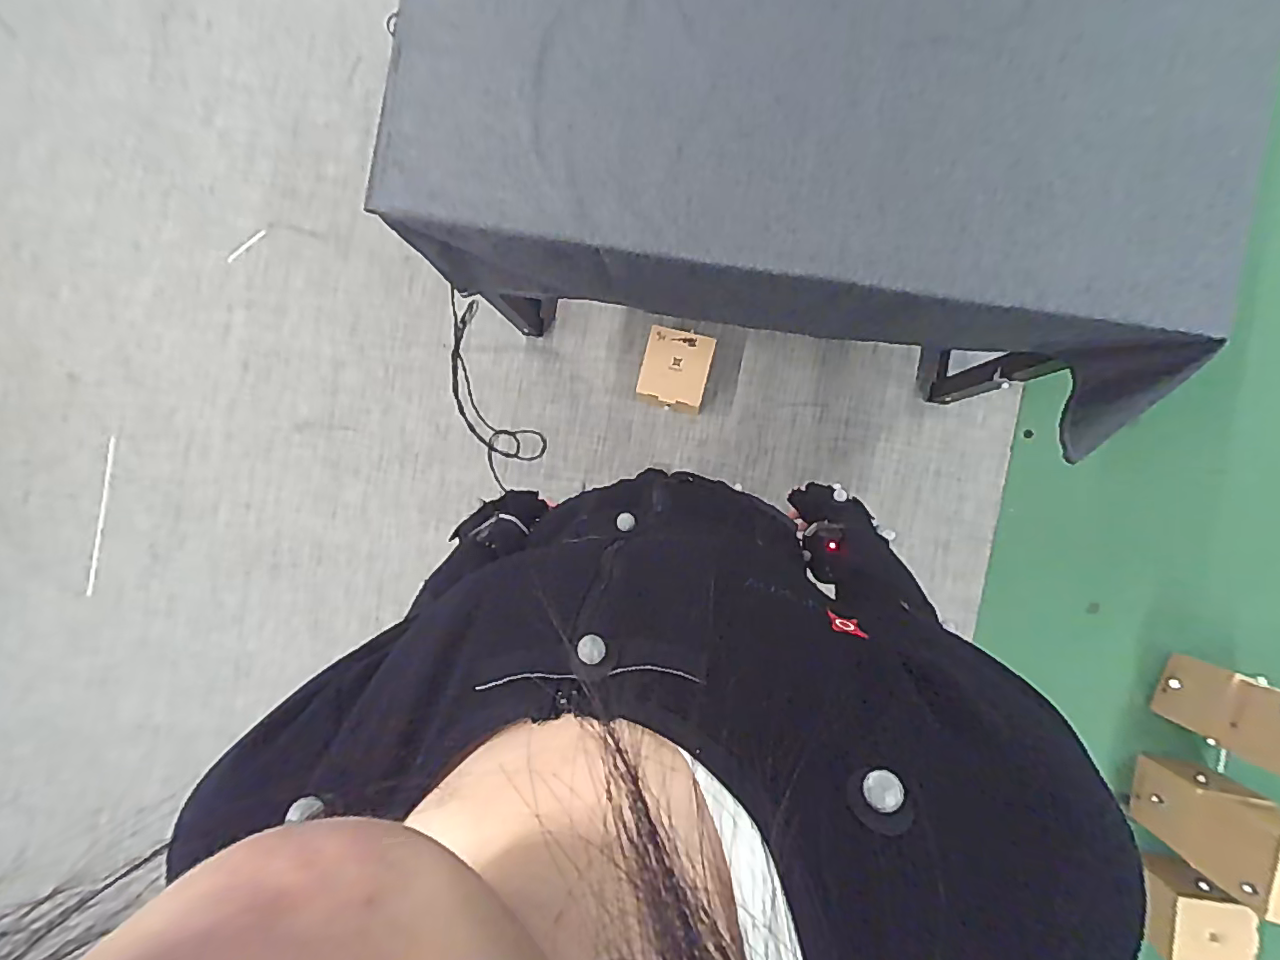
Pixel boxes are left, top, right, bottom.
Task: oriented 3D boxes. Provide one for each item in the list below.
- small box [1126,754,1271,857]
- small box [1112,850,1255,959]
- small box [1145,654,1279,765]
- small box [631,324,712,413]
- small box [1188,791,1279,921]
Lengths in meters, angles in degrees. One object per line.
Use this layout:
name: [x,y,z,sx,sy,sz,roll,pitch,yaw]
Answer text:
small box: [1.345,0.796,1.316,0.179,0.176,0.168,8,90,3]
small box: [1.314,1.042,1.317,0.179,0.176,0.168,5,90,3]
small box: [1.409,0.545,1.313,0.179,0.176,0.168,21,90,5]
small box: [0.083,-0.279,1.397,0.168,0.176,0.179,14,91,4]
small box: [1.339,0.803,1.153,0.168,0.176,0.179,11,91,3]
